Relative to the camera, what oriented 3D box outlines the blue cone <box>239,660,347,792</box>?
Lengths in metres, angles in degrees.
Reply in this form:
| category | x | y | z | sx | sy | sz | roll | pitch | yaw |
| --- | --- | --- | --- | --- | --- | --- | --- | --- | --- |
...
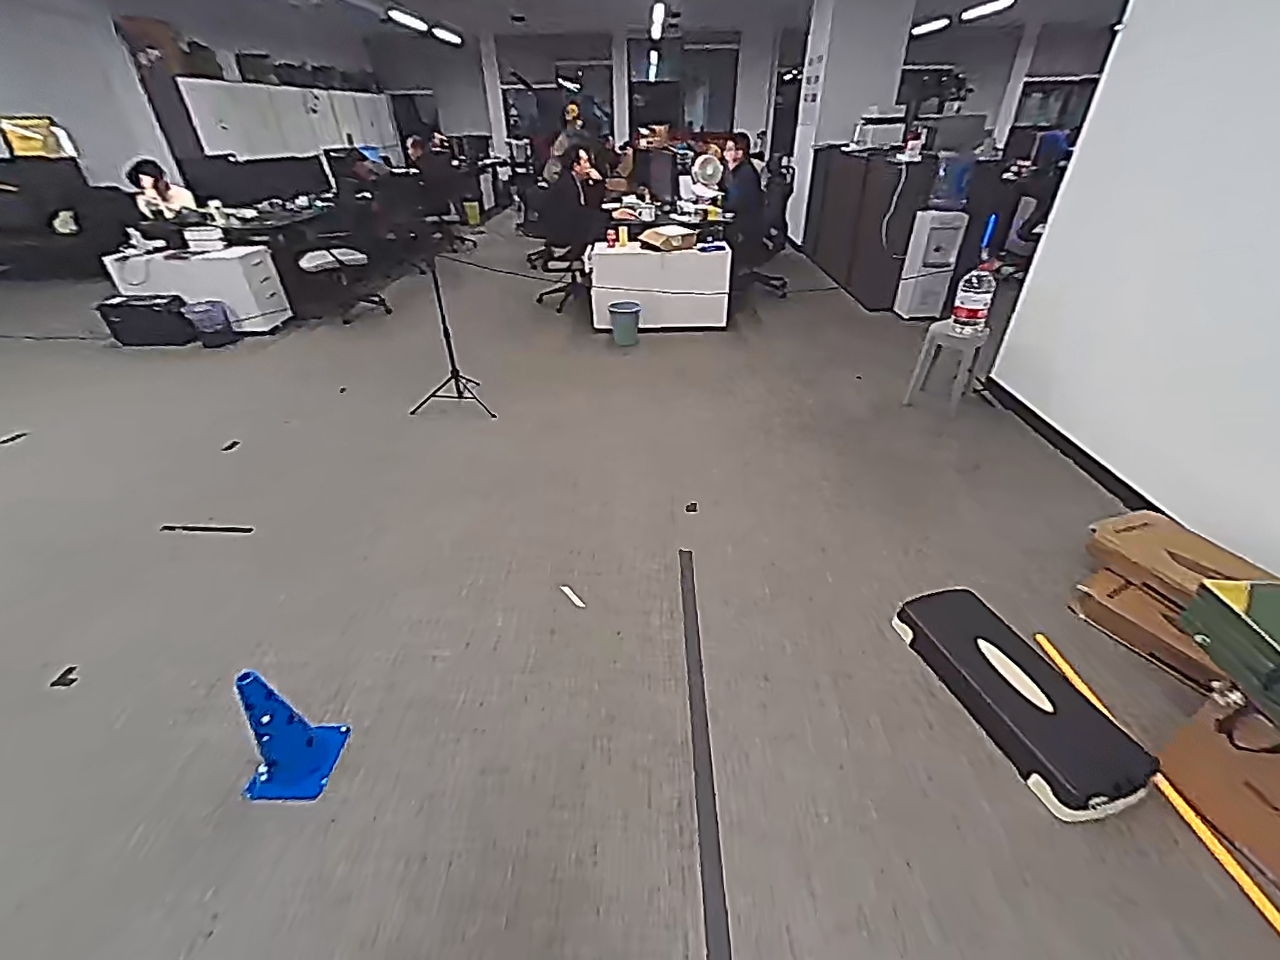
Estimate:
| category | x | y | z | sx | sy | sz | roll | pitch | yaw |
| --- | --- | --- | --- | --- | --- | --- | --- | --- | --- |
| blue cone | -0.910 | 0.596 | 1.351 | 0.193 | 0.380 | 0.192 | 1 | 33 | 3 |
